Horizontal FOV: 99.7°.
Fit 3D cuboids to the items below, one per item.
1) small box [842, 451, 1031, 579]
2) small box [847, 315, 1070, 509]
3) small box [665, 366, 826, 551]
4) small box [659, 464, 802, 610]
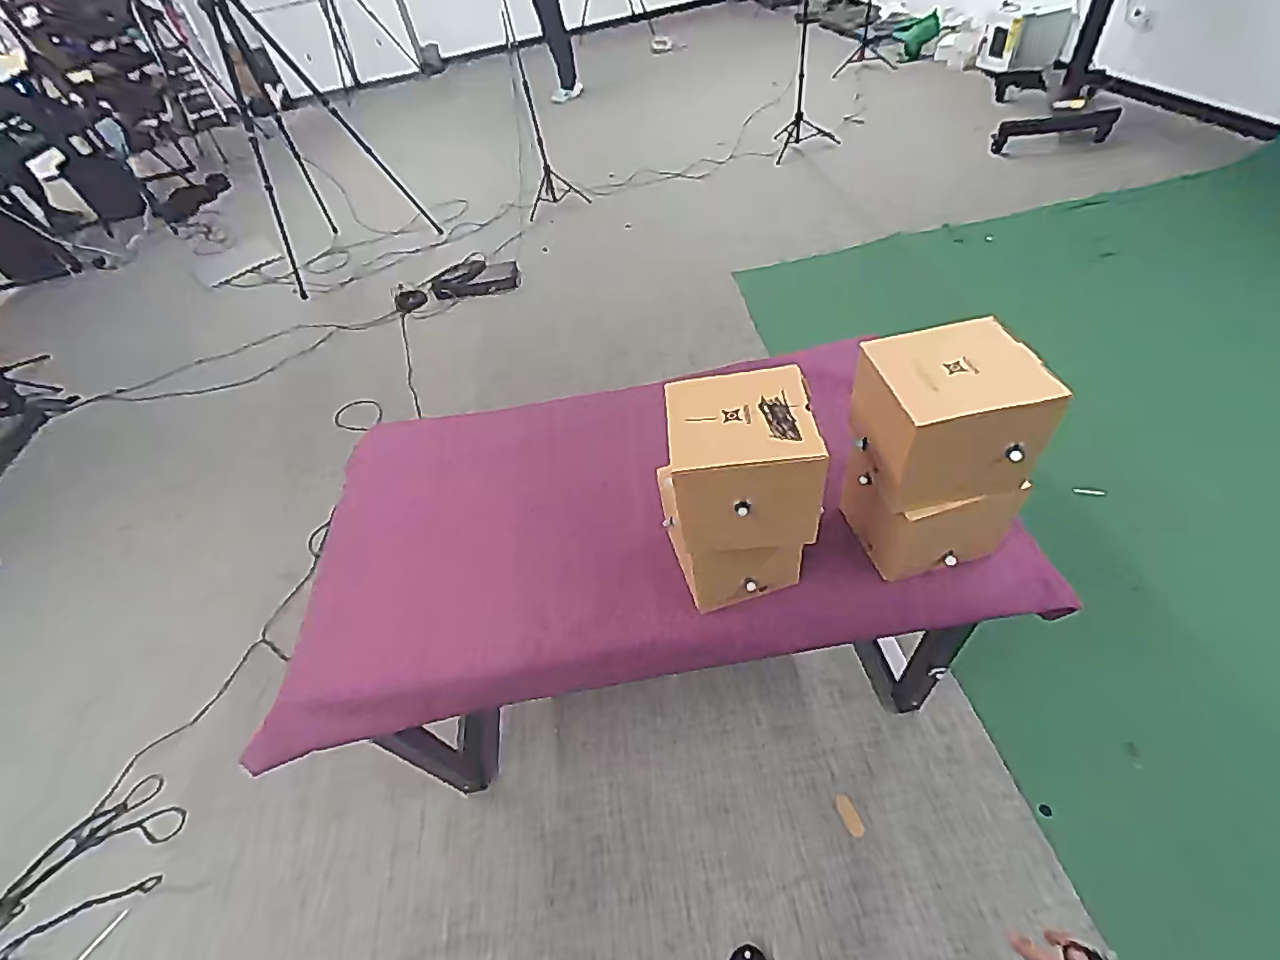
[{"bbox_3d":[0.430,0.025,0.822,0.179,0.176,0.168,-15,48,-1],"label":"small box"},{"bbox_3d":[0.392,-0.084,0.706,0.179,0.176,0.168,-11,48,3],"label":"small box"},{"bbox_3d":[0.130,-0.023,0.707,0.179,0.176,0.168,-7,47,7],"label":"small box"},{"bbox_3d":[0.137,0.071,0.845,0.168,0.176,0.179,-17,48,-3],"label":"small box"}]
